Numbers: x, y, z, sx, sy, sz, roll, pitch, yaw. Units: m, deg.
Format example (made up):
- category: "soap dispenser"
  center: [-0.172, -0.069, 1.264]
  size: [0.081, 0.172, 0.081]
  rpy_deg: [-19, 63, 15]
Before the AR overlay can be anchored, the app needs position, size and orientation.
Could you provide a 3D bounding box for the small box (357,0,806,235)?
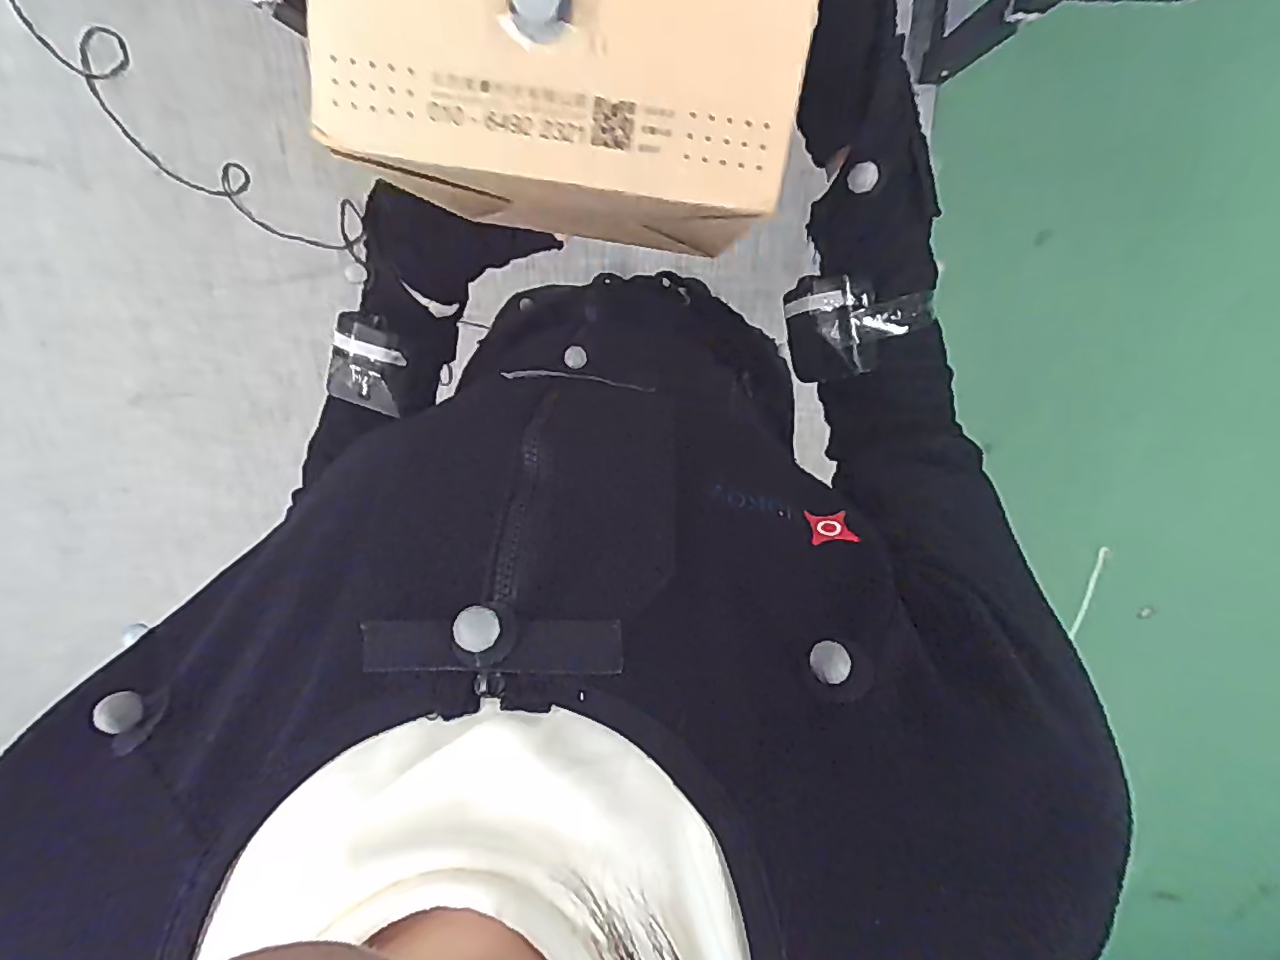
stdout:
- category: "small box"
  center: [-0.019, -0.221, 0.256]
  size: [0.168, 0.179, 0.176]
  rpy_deg: [7, 109, -2]
